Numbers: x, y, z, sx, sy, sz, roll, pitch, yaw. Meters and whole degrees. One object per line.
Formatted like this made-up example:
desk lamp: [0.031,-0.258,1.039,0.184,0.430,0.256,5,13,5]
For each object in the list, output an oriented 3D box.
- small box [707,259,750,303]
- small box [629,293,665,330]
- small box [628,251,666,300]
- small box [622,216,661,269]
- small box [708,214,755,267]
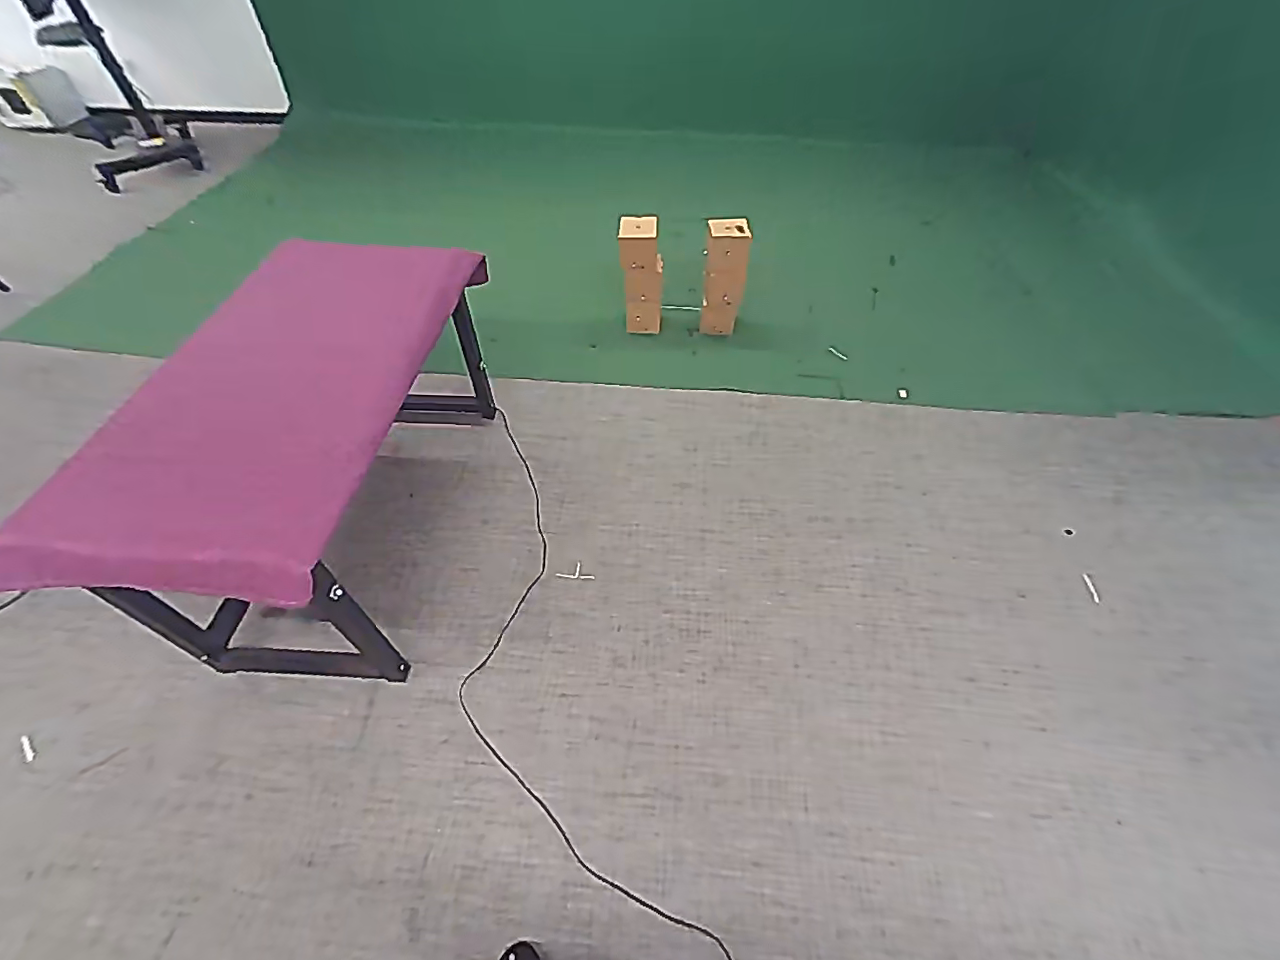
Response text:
small box: [0.414,-0.964,2.570,0.168,0.176,0.179,-4,51,-2]
small box: [0.039,-0.870,2.710,0.168,0.176,0.179,2,50,3]
small box: [0.033,-0.976,2.585,0.179,0.176,0.168,1,50,1]
small box: [0.008,-1.082,2.461,0.168,0.176,0.179,1,51,4]
small box: [0.411,-1.083,2.453,0.179,0.176,0.168,-2,51,0]
